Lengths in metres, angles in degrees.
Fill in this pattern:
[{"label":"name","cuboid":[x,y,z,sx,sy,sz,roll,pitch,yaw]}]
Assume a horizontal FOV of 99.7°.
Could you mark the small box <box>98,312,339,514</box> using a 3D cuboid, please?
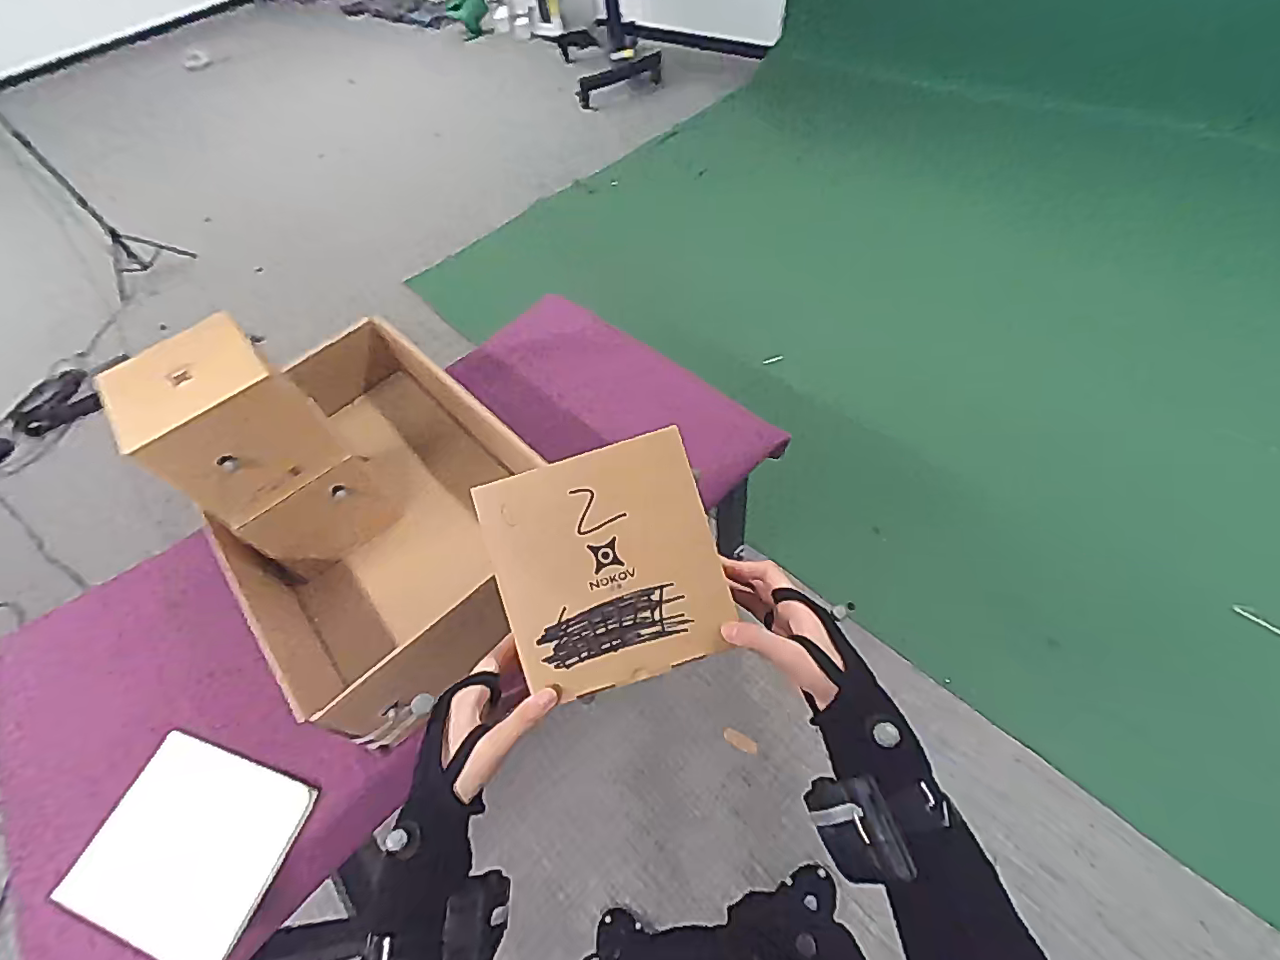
[{"label":"small box","cuboid":[-0.538,-0.079,0.711,0.168,0.176,0.179,-39,59,-18]}]
